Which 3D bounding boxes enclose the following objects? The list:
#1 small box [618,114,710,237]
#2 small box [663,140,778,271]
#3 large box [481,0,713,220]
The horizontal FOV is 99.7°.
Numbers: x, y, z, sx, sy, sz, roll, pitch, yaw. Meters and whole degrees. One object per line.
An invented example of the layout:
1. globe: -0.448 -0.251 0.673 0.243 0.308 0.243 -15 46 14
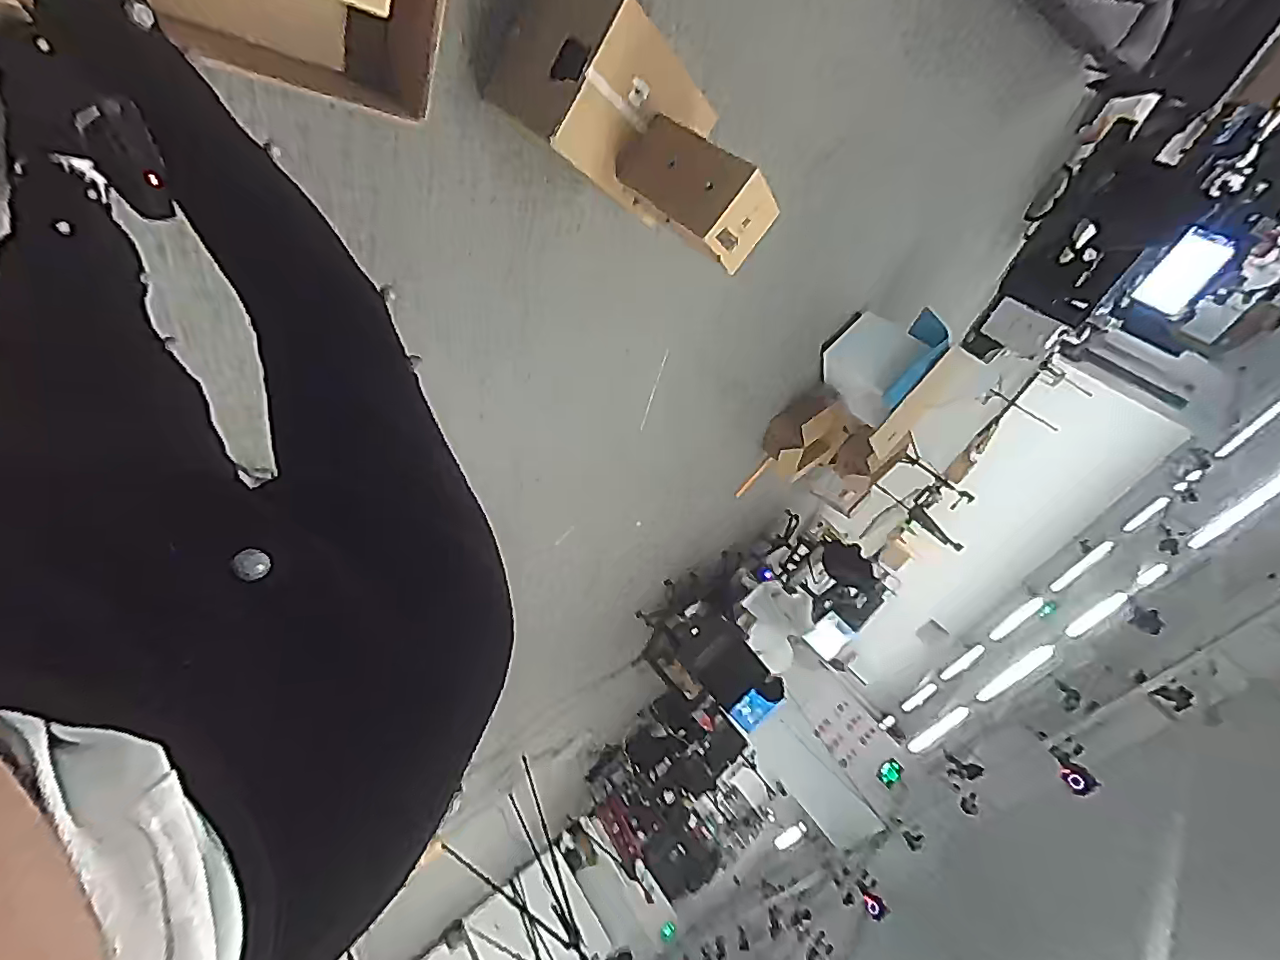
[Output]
1. small box: 0.080 -0.730 1.301 0.179 0.176 0.168 -50 152 14
2. small box: 0.174 -0.620 1.226 0.179 0.176 0.168 -50 152 13
3. large box: -0.098 -0.922 1.326 0.408 0.320 0.320 6 124 -55
